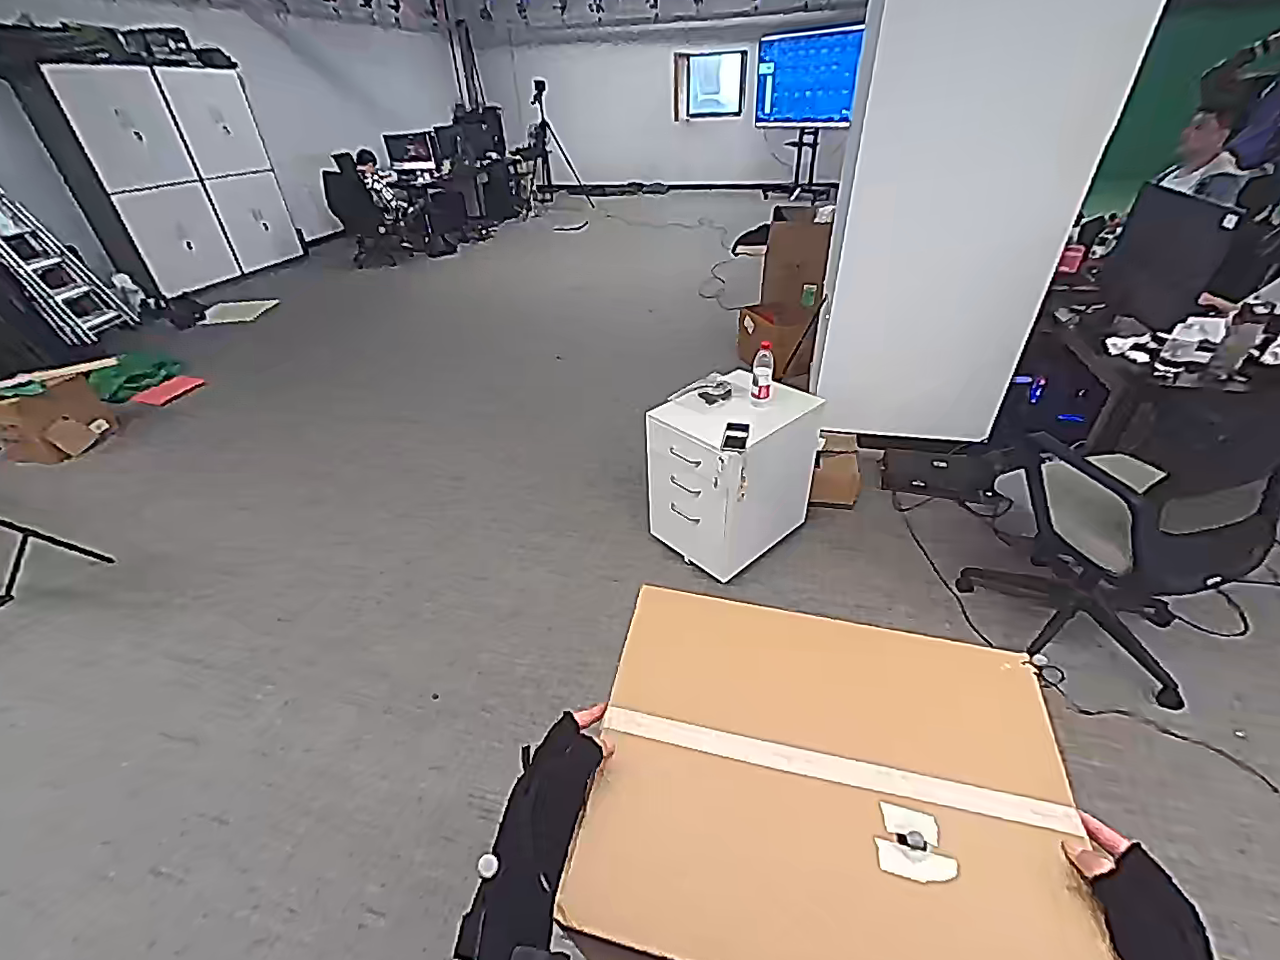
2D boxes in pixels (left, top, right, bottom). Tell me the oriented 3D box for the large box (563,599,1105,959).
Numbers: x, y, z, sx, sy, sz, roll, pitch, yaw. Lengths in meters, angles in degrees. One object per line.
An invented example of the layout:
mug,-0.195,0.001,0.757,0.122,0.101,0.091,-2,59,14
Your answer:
large box,0.165,0.373,0.588,0.408,0.320,0.320,9,45,10
